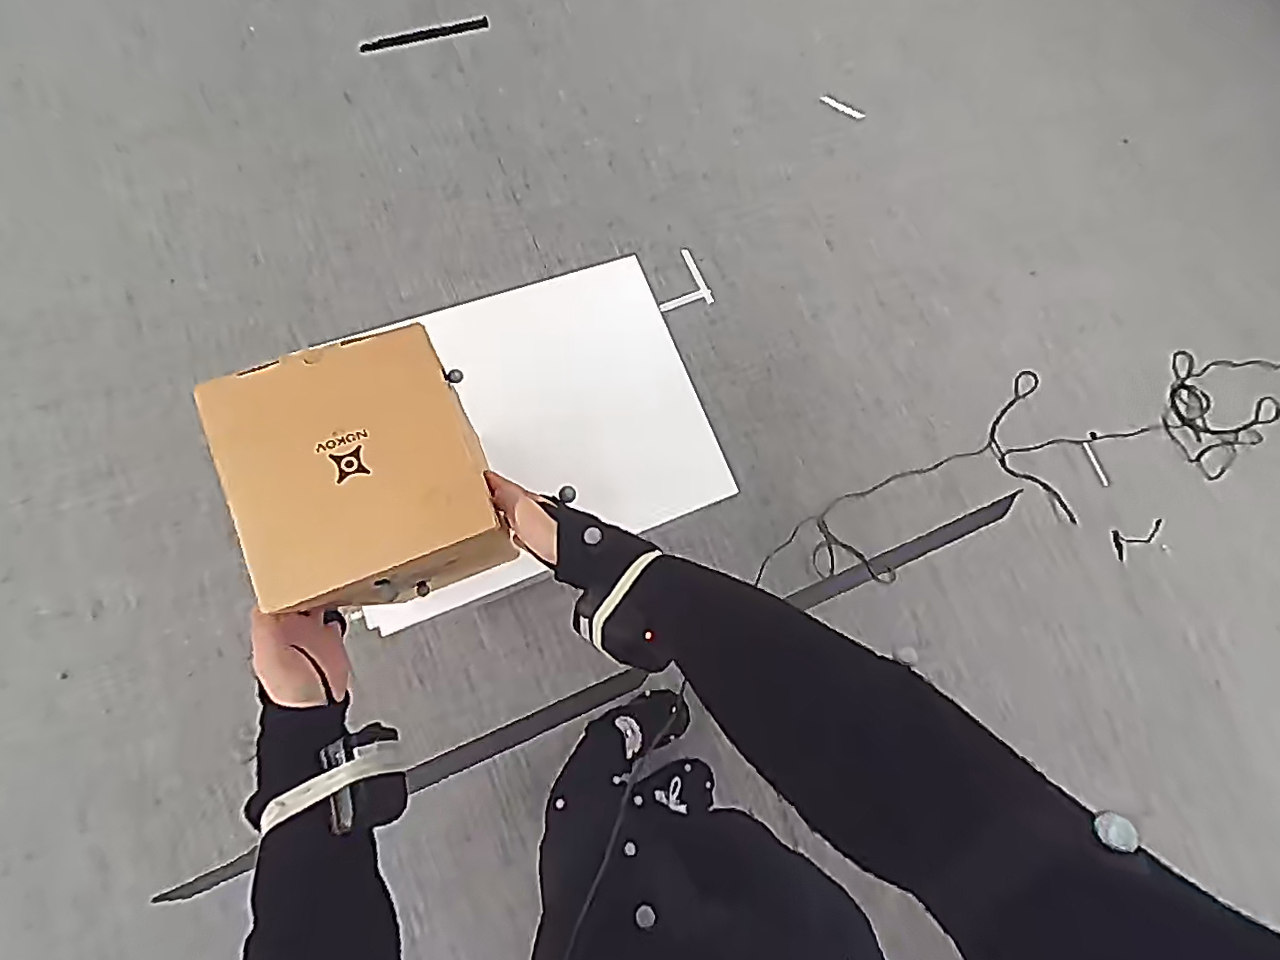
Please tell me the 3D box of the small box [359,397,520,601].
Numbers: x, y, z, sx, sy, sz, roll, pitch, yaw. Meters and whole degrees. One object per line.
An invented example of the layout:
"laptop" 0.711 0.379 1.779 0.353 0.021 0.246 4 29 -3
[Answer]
"small box" -0.247 0.031 0.625 0.168 0.176 0.179 -21 82 -12

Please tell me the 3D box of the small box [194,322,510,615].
"small box" -0.221 0.000 0.466 0.168 0.176 0.179 -22 82 -12
